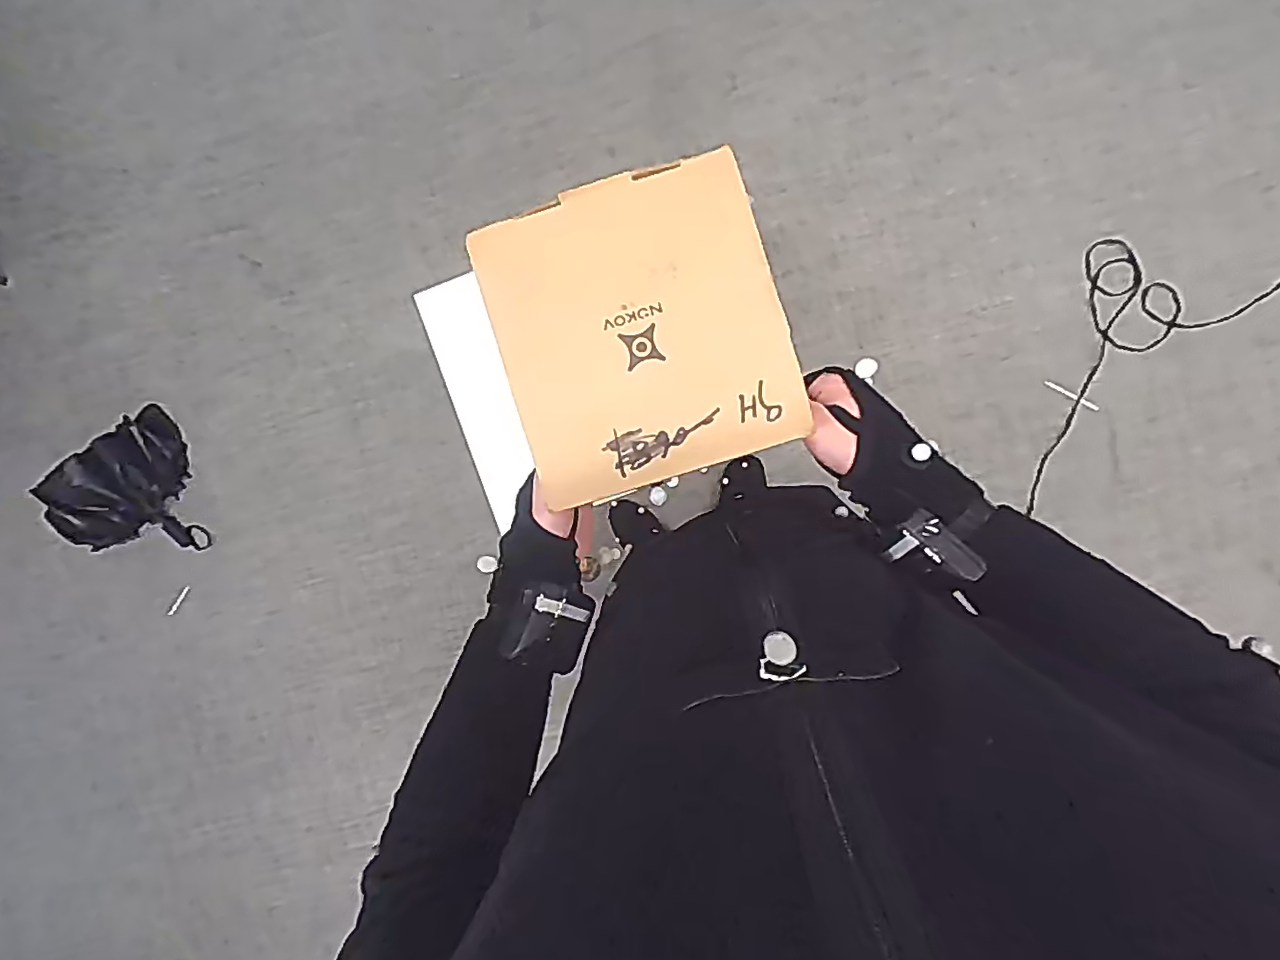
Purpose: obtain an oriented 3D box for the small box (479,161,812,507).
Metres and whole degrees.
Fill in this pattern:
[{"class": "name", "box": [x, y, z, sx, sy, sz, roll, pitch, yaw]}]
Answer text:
[{"class": "small box", "box": [0.005, -0.086, 0.402, 0.168, 0.176, 0.179, -16, 90, 3]}]
